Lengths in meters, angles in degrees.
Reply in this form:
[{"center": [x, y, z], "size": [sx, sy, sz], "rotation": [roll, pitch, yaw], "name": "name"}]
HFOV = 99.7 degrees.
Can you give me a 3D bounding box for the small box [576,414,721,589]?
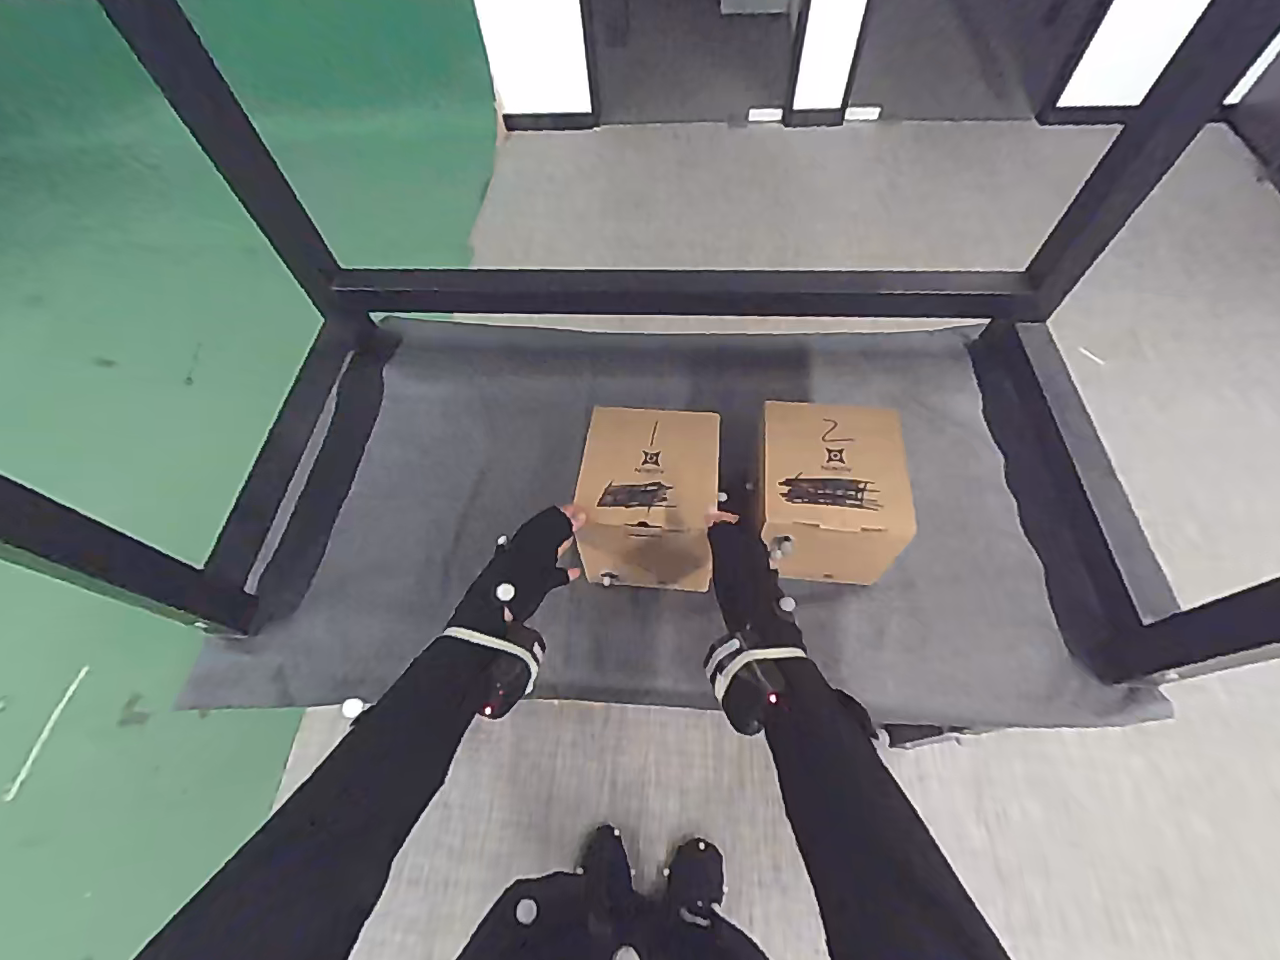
[{"center": [0.020, 0.033, 0.728], "size": [0.168, 0.176, 0.179], "rotation": [3, 55, 5], "name": "small box"}]
